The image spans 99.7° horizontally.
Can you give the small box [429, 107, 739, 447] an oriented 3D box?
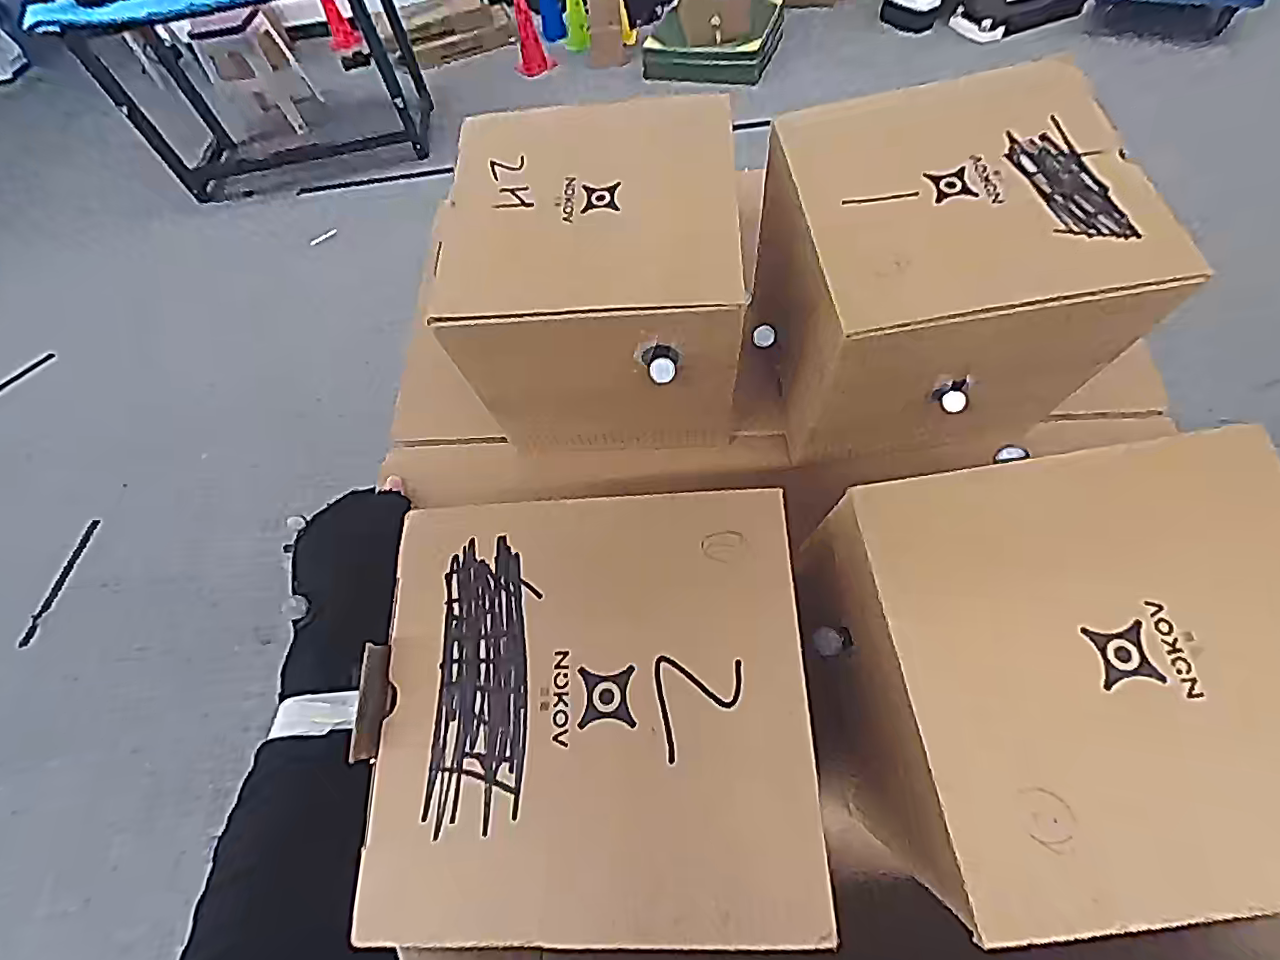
[{"bbox_3d":[-0.024,-0.132,0.400,0.179,0.176,0.168,-1,67,6],"label":"small box"}]
